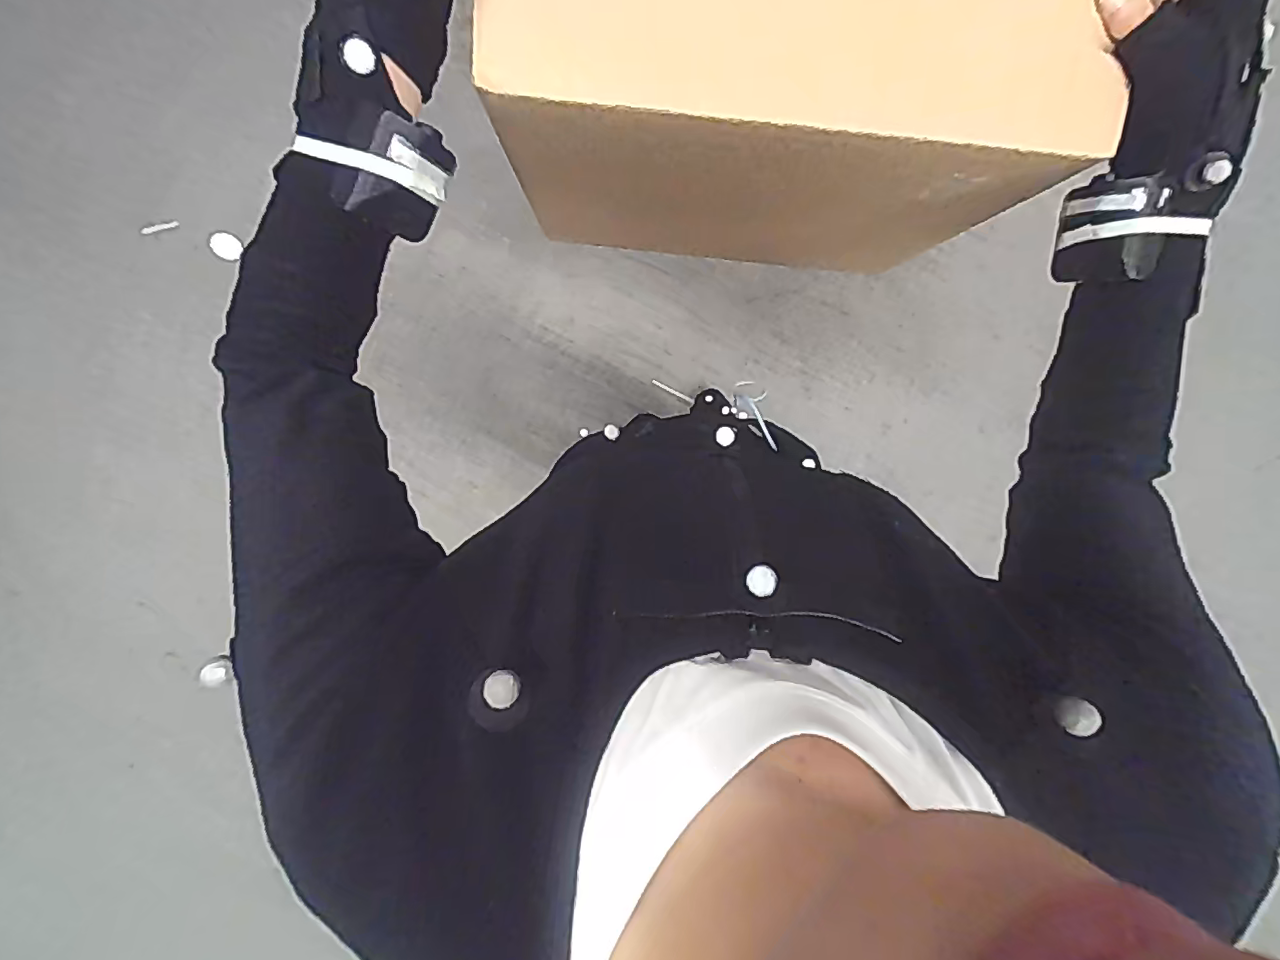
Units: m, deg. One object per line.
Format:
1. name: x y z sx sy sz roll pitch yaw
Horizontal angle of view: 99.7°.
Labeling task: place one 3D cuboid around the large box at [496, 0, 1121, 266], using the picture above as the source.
1. large box: 0.105 -0.397 0.477 0.408 0.320 0.320 3 98 -4
